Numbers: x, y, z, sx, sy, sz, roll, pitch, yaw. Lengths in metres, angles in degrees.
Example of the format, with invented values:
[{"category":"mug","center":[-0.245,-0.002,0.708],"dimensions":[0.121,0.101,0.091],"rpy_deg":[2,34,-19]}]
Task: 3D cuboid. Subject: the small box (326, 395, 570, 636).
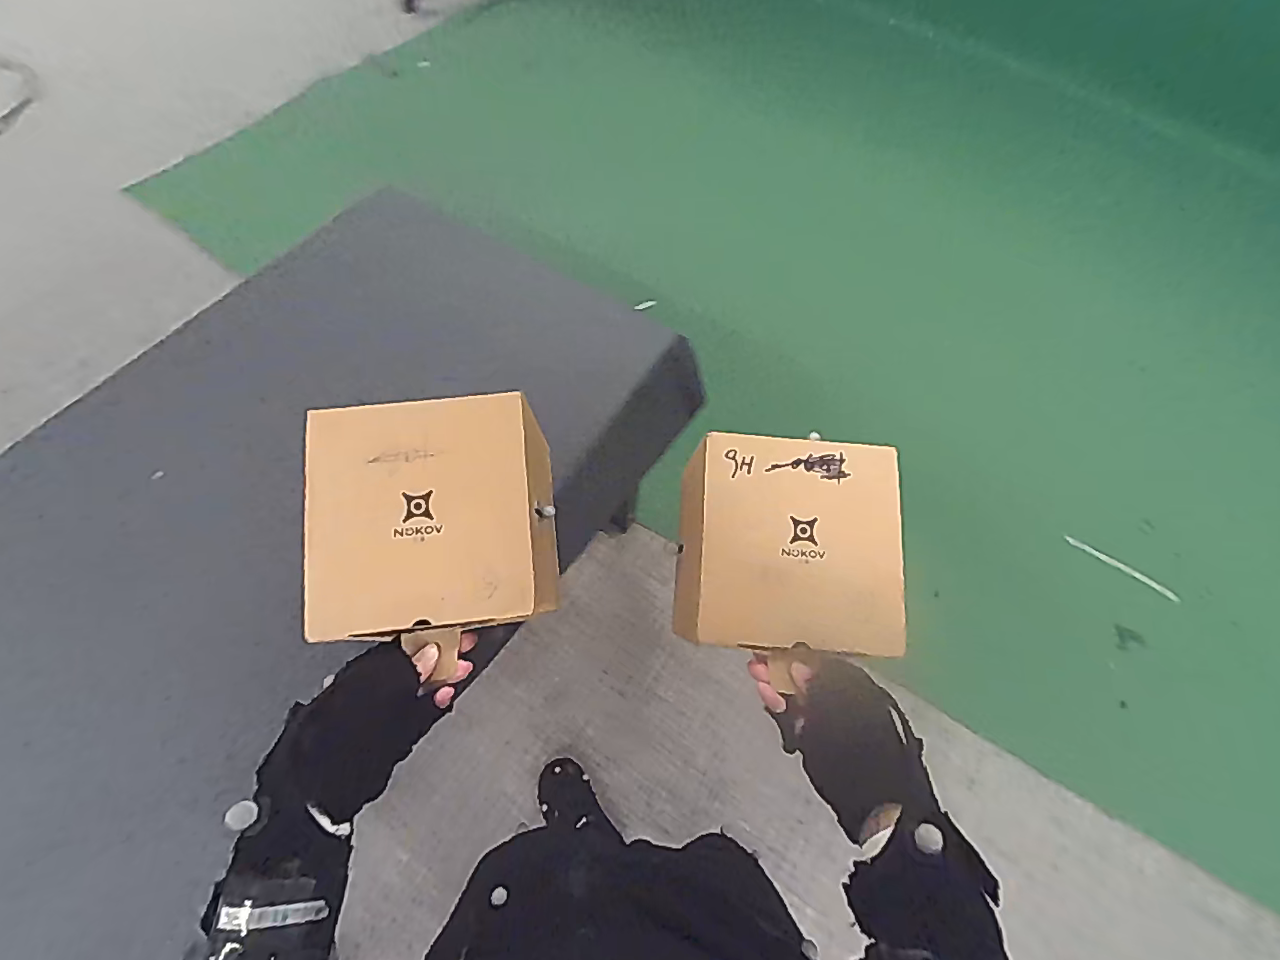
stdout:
[{"category":"small box","center":[-0.157,0.038,0.491],"dimensions":[0.168,0.176,0.179],"rpy_deg":[-5,78,-4]}]
